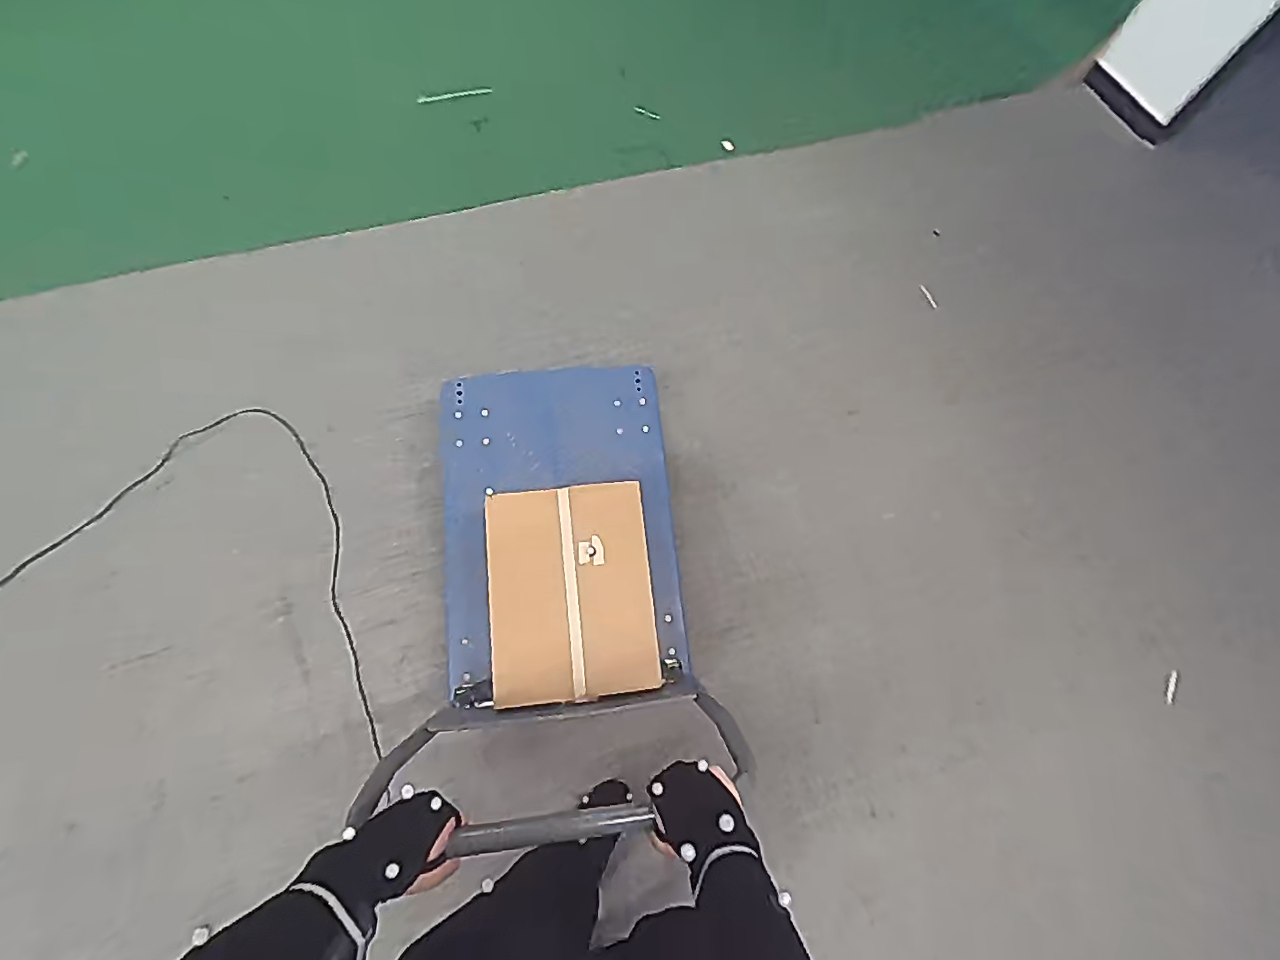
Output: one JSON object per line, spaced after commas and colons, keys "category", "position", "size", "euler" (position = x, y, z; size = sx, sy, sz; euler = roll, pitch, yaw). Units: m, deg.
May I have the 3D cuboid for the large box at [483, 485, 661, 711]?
{"category": "large box", "position": [-0.149, 0.258, 1.195], "size": [0.320, 0.320, 0.408], "euler": [-6, 74, -7]}
